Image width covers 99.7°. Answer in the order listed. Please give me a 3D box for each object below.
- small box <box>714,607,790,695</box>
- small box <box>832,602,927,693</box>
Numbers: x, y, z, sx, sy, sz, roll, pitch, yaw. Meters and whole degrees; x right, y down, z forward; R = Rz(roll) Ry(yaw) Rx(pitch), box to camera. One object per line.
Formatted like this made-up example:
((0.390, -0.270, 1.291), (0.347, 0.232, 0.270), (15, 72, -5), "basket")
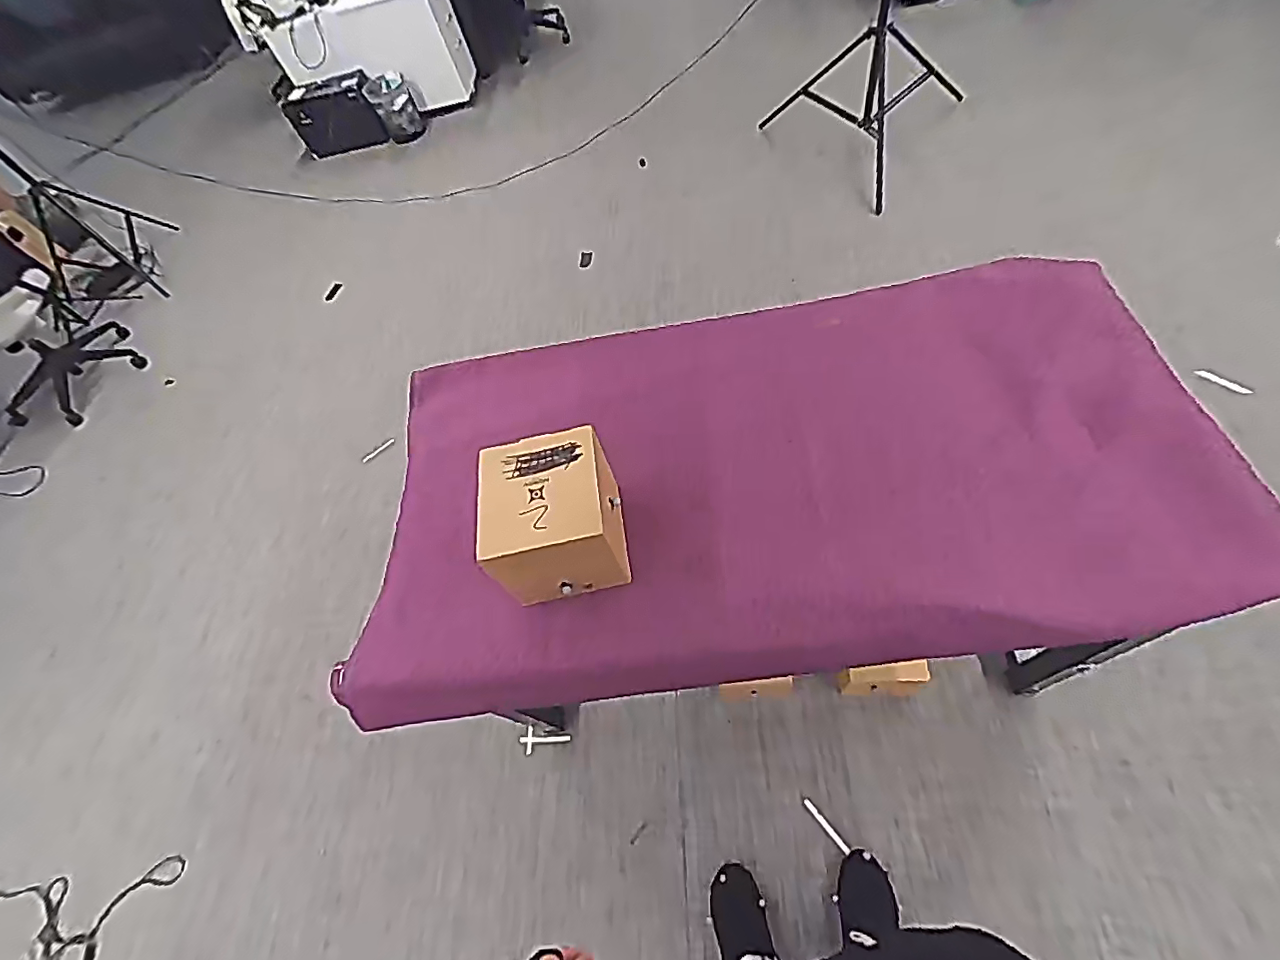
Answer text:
((0.275, 0.427, 1.333), (0.168, 0.176, 0.179), (-6, 57, 9), "small box")
((0.560, 0.403, 1.286), (0.168, 0.176, 0.179), (-4, 57, 11), "small box")
